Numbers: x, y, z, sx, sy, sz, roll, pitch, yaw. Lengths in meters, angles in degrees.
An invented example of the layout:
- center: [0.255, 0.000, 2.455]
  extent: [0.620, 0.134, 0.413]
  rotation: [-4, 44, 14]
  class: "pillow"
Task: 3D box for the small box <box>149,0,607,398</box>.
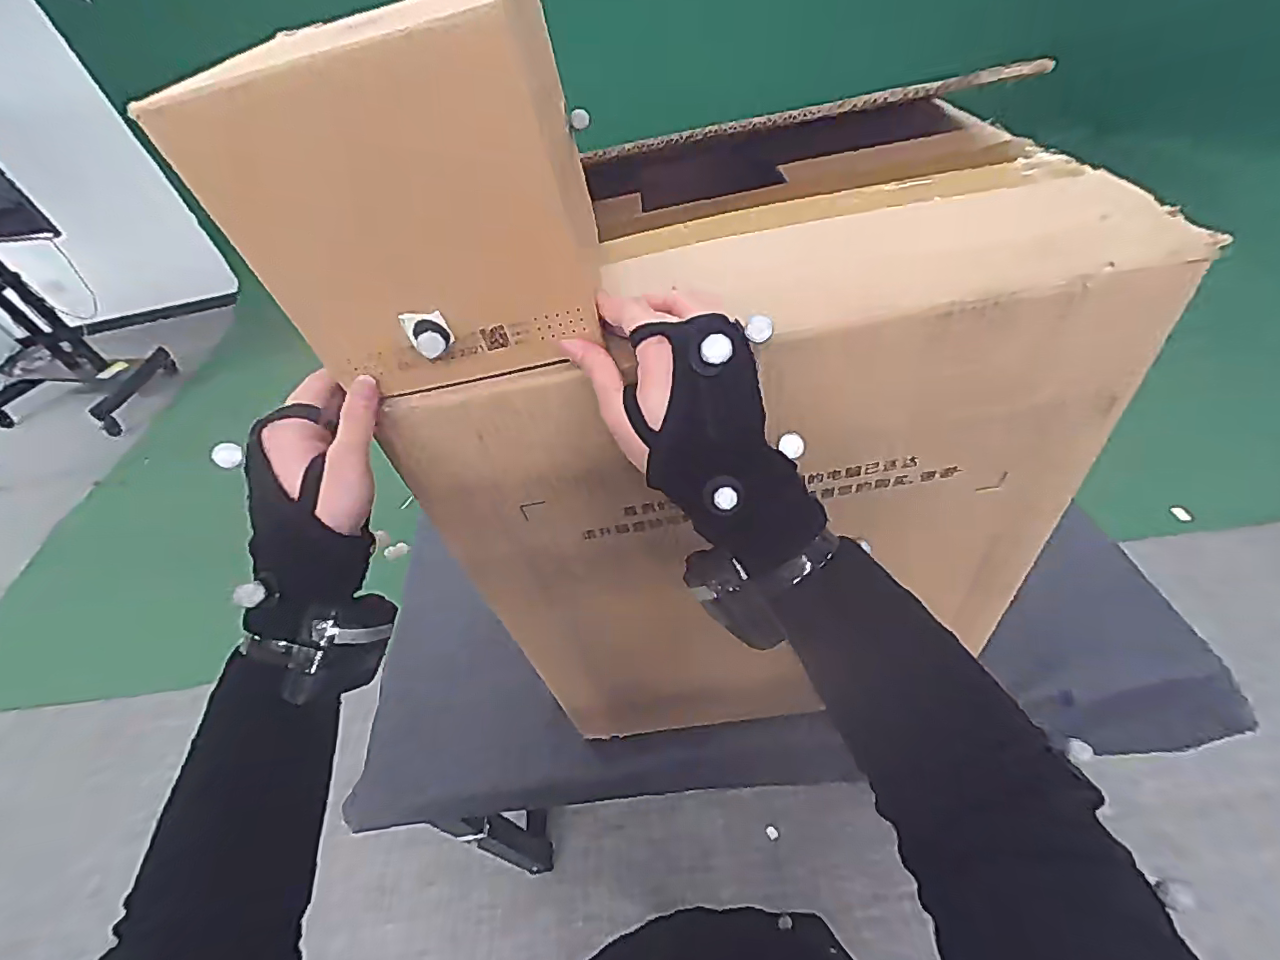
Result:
- center: [-0.123, -0.179, 0.337]
  extent: [0.168, 0.176, 0.179]
  rotation: [-13, 48, 4]
  class: "small box"
